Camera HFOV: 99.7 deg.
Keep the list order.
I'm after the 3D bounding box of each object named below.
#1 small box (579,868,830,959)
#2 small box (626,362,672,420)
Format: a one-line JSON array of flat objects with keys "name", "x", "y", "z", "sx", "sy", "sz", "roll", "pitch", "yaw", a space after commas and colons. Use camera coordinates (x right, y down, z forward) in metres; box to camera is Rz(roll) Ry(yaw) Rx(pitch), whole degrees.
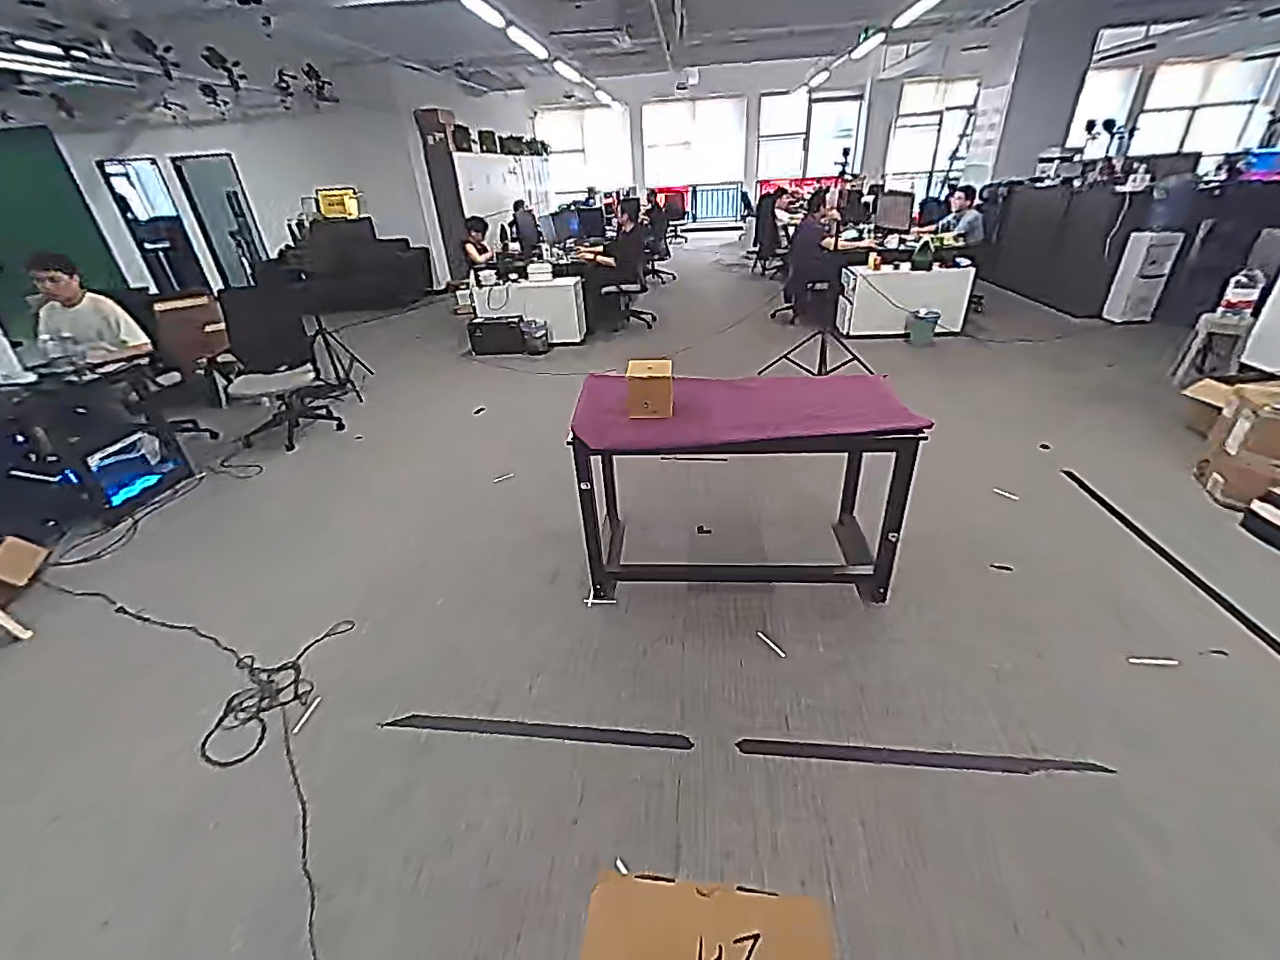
[{"name": "small box", "x": 0.041, "y": 0.404, "z": 0.367, "sx": 0.168, "sy": 0.176, "sz": 0.179, "roll": 2, "pitch": 38, "yaw": 9}, {"name": "small box", "x": 0.036, "y": -0.339, "z": 2.051, "sx": 0.168, "sy": 0.176, "sz": 0.179, "roll": -1, "pitch": 31, "yaw": 4}]
